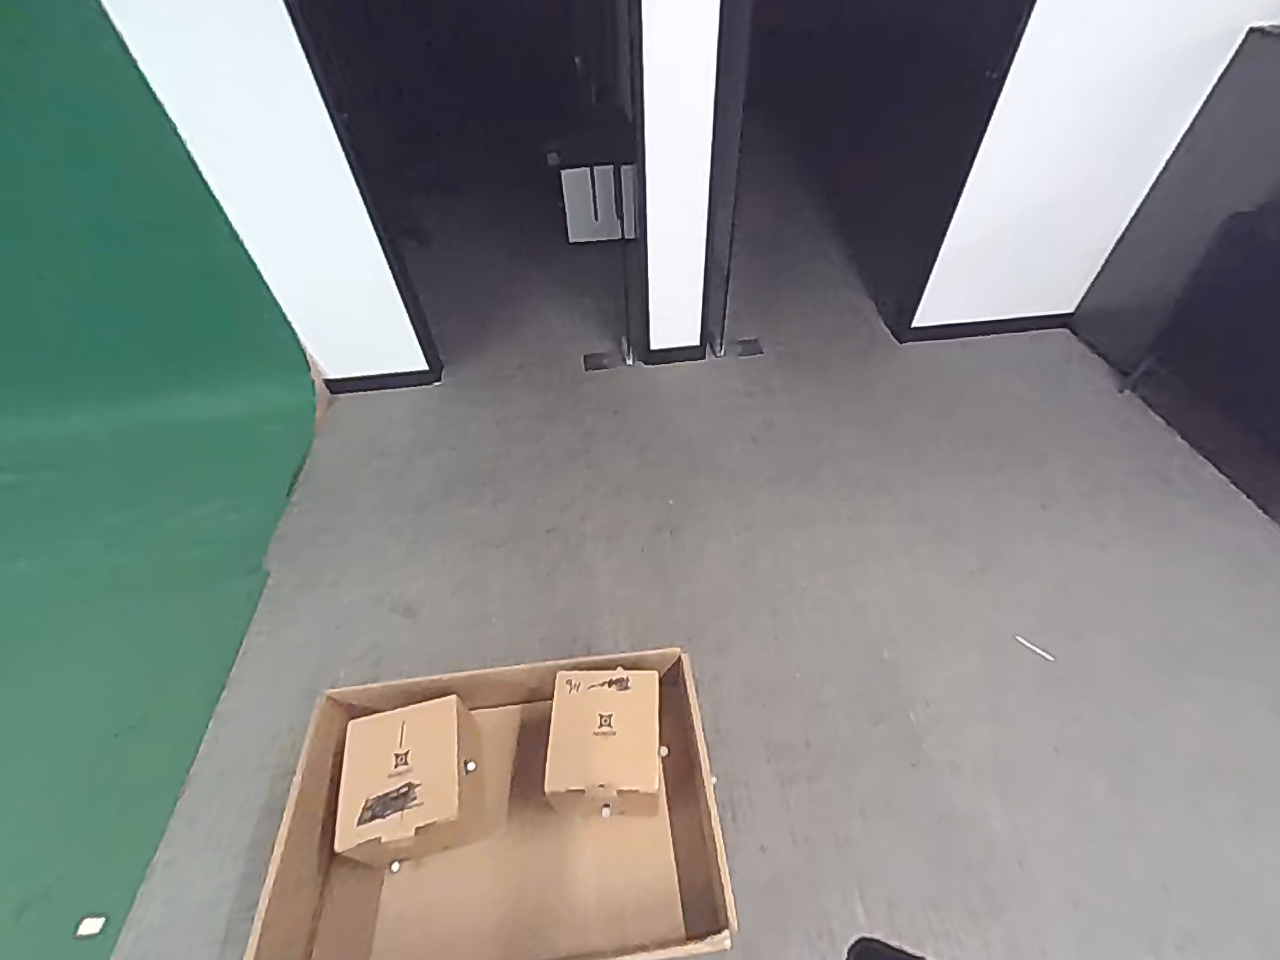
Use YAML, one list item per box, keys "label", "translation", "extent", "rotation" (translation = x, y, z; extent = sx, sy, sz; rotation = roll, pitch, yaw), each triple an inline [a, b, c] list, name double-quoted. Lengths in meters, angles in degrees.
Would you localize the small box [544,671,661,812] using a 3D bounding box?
- label: "small box"
  translation: [-0.050, 0.425, 0.872]
  extent: [0.168, 0.176, 0.179]
  rotation: [-1, 49, 2]
